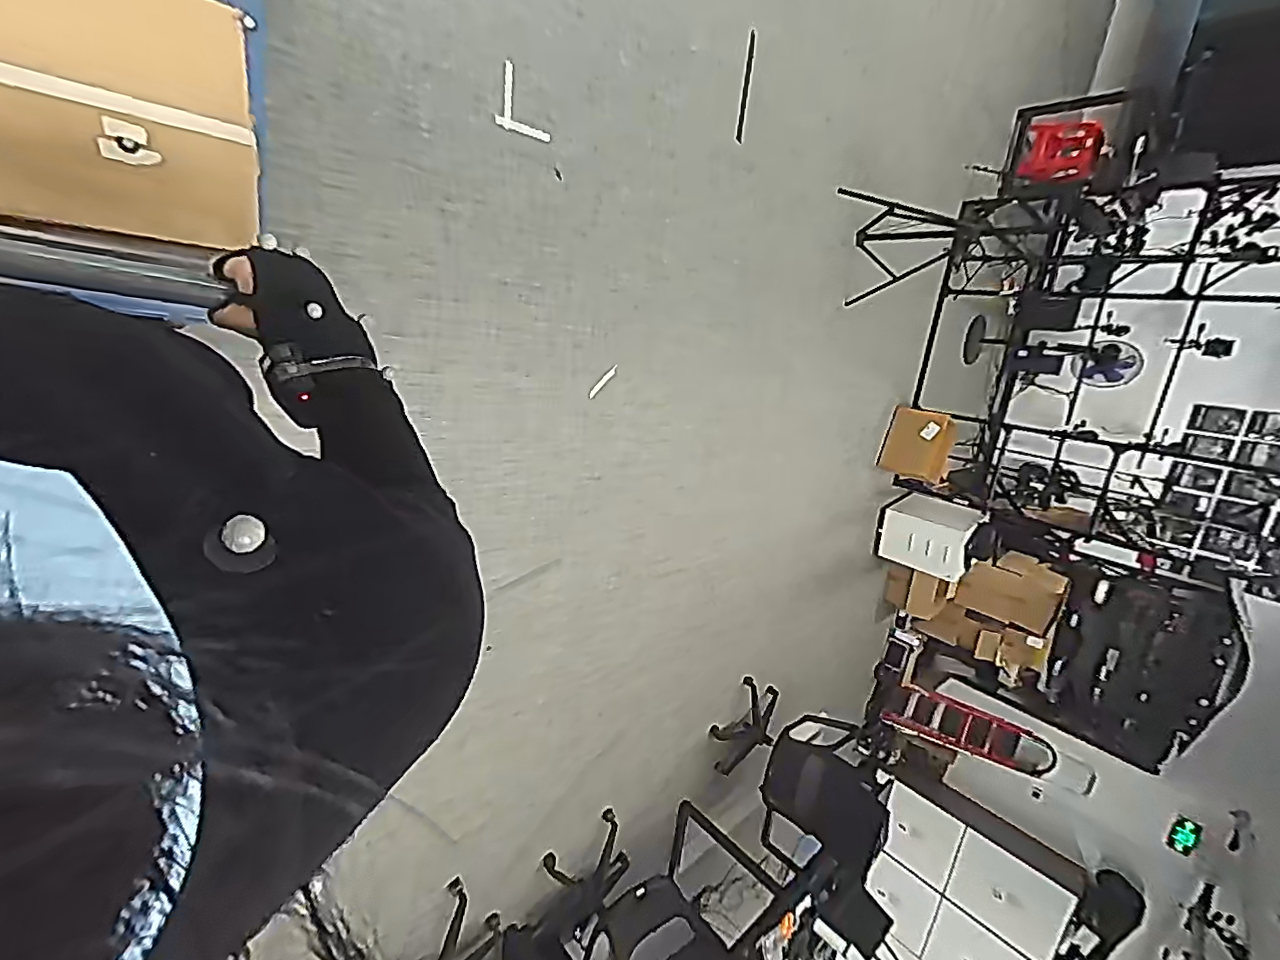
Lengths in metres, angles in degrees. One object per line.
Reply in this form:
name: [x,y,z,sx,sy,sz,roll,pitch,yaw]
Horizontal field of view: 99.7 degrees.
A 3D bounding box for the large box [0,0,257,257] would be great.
large box: [-0.812,-0.505,0.743,0.408,0.320,0.320,-9,112,-44]
